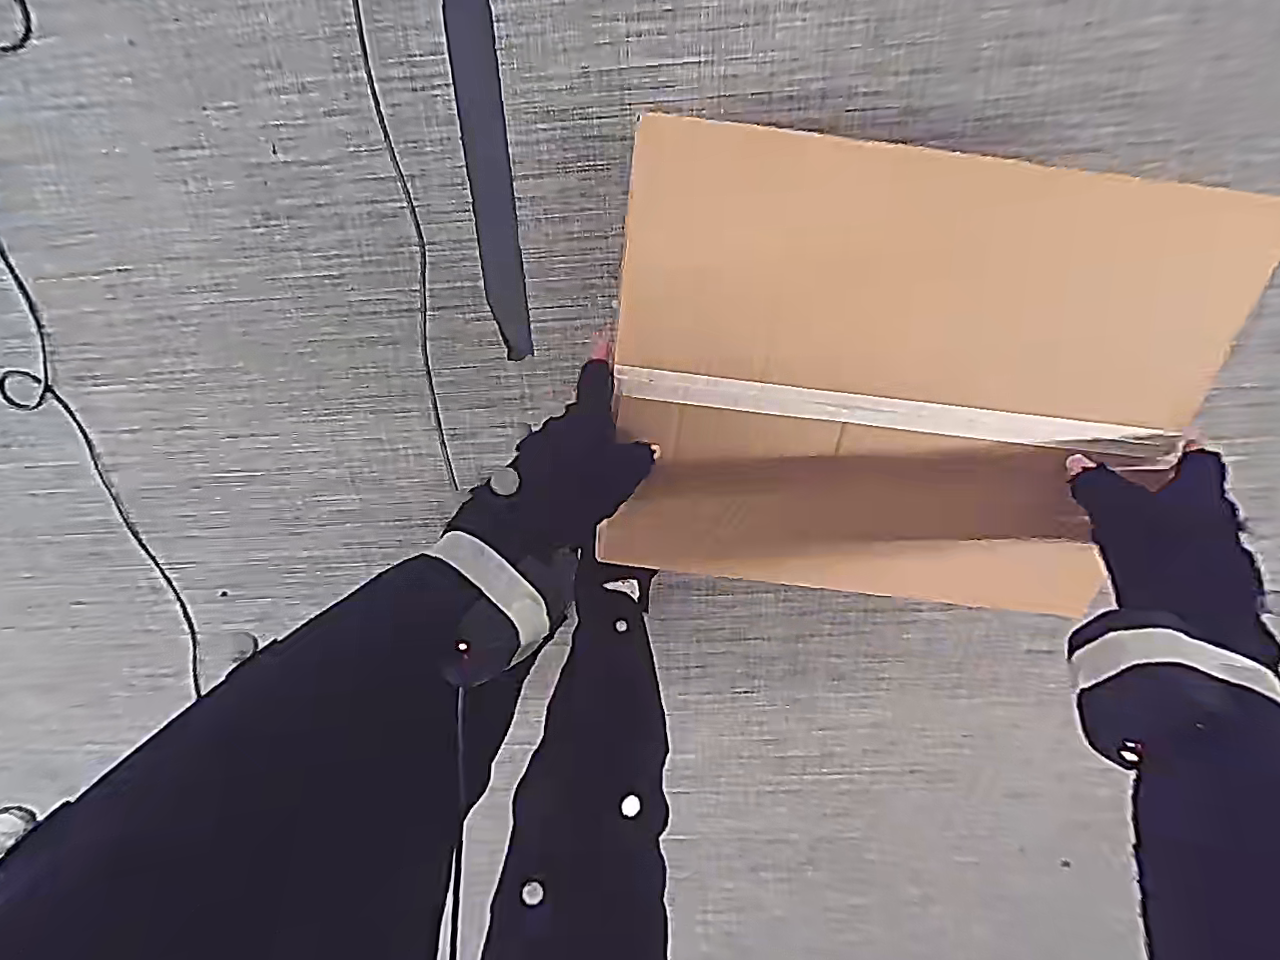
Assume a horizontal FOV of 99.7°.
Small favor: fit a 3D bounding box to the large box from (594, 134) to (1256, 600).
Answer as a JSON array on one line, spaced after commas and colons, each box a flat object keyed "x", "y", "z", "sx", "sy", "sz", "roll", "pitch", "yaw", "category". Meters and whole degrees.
[{"x": 0.180, "y": -0.116, "z": 0.532, "sx": 0.408, "sy": 0.320, "sz": 0.320, "roll": 7, "pitch": 114, "yaw": -1, "category": "large box"}]
